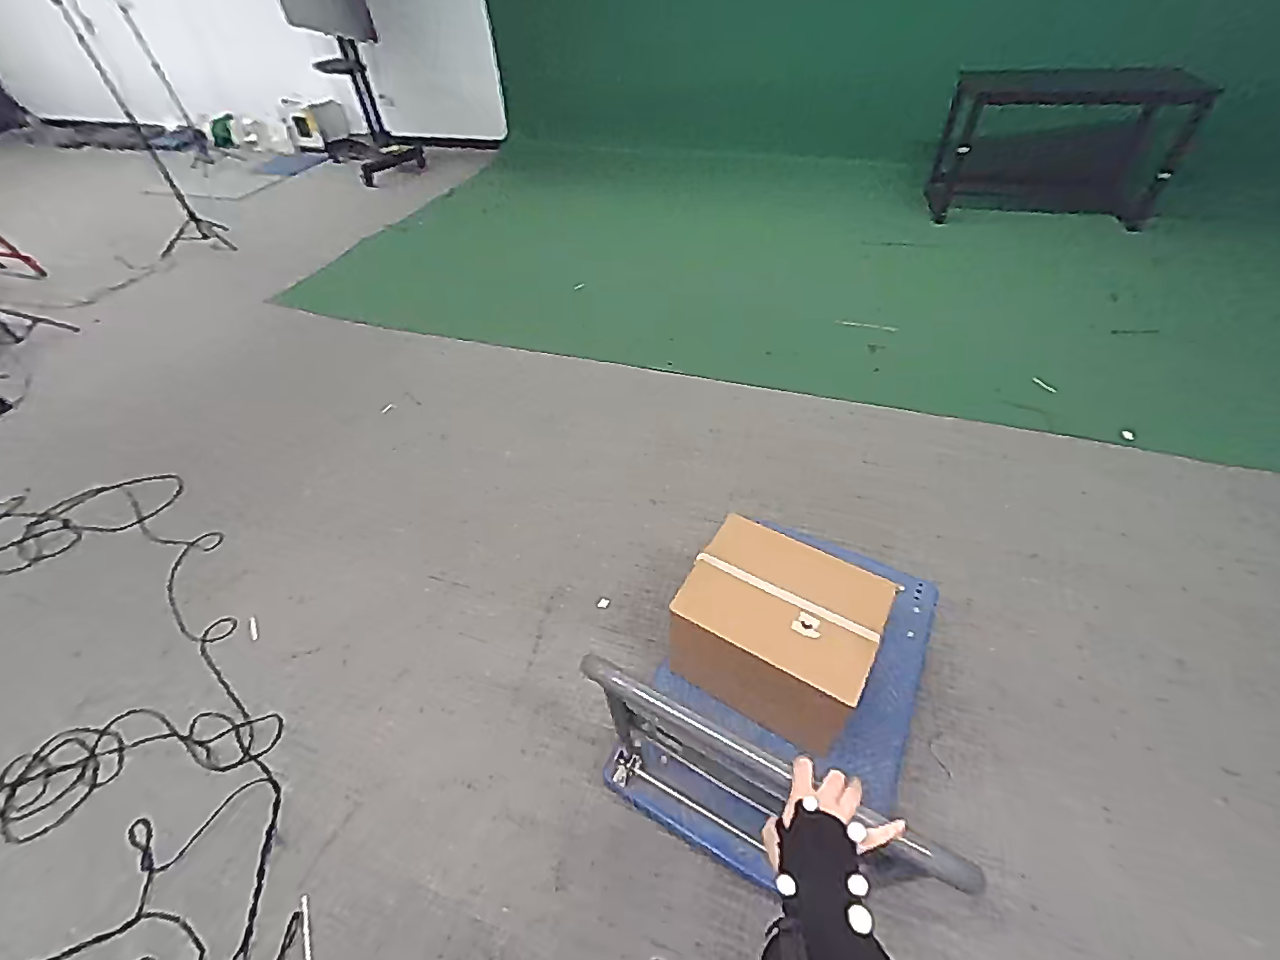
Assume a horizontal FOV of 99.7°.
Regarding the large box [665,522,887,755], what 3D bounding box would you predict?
[{"bbox_3d":[0.305,0.369,1.292,0.408,0.320,0.320,24,52,22],"label":"large box"}]
